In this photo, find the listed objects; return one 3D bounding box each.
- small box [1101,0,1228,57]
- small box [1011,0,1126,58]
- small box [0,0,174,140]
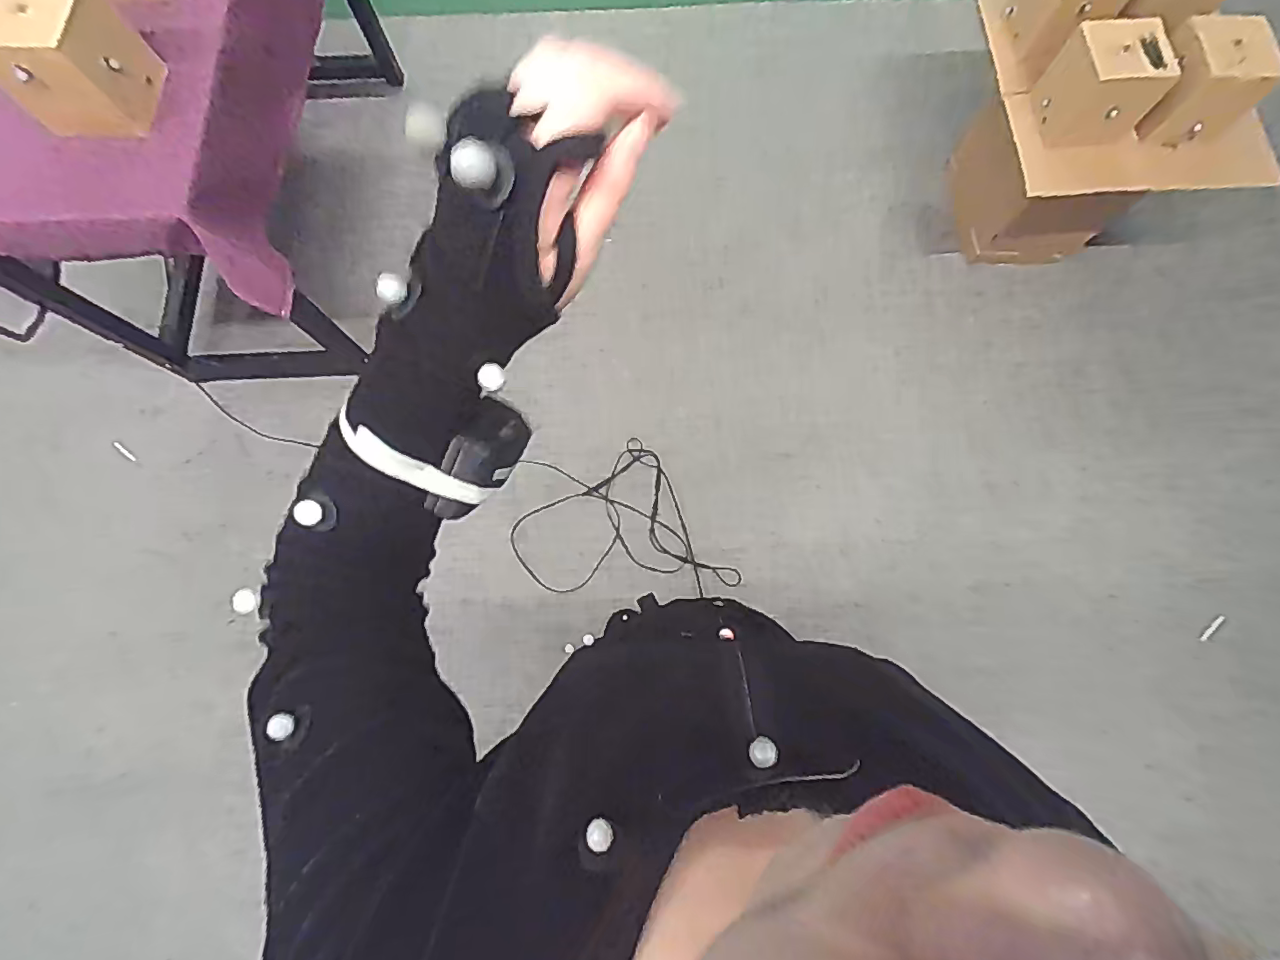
[{"bbox_3d":[1.239,-1.145,1.279,0.179,0.176,0.168,-3,75,-2],"label":"small box"},{"bbox_3d":[1.023,-1.146,1.283,0.179,0.176,0.168,-7,76,-1],"label":"small box"},{"bbox_3d":[-0.989,-0.737,0.959,0.179,0.176,0.168,2,76,3],"label":"small box"}]
